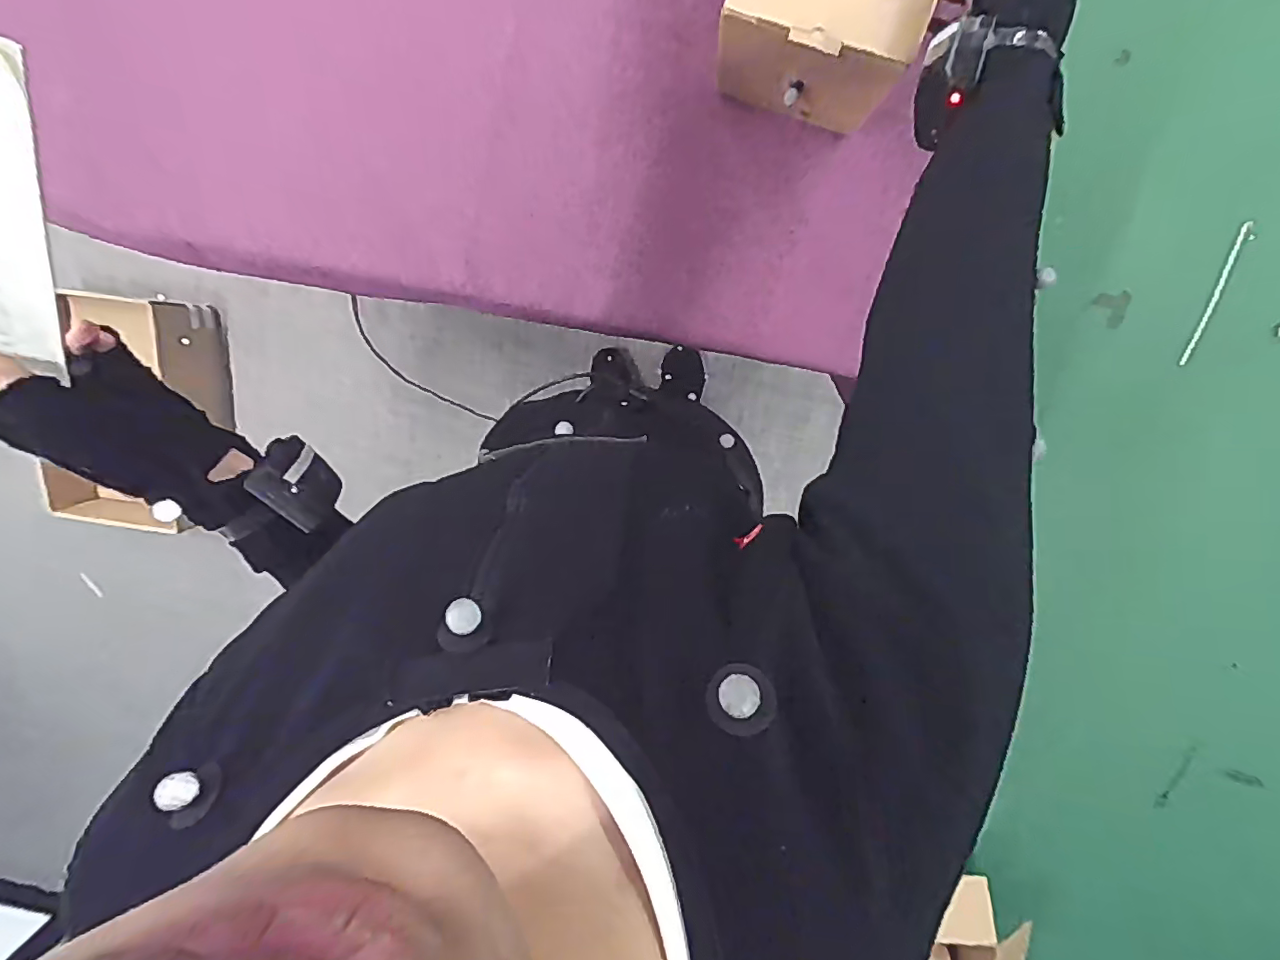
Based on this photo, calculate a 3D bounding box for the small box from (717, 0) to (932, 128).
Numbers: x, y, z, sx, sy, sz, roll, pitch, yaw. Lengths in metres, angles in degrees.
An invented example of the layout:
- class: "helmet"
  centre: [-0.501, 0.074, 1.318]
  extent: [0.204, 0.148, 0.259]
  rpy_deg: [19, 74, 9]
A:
- class: "small box"
  centre: [0.177, -0.463, 0.499]
  extent: [0.168, 0.176, 0.179]
  rpy_deg: [19, 107, 0]
